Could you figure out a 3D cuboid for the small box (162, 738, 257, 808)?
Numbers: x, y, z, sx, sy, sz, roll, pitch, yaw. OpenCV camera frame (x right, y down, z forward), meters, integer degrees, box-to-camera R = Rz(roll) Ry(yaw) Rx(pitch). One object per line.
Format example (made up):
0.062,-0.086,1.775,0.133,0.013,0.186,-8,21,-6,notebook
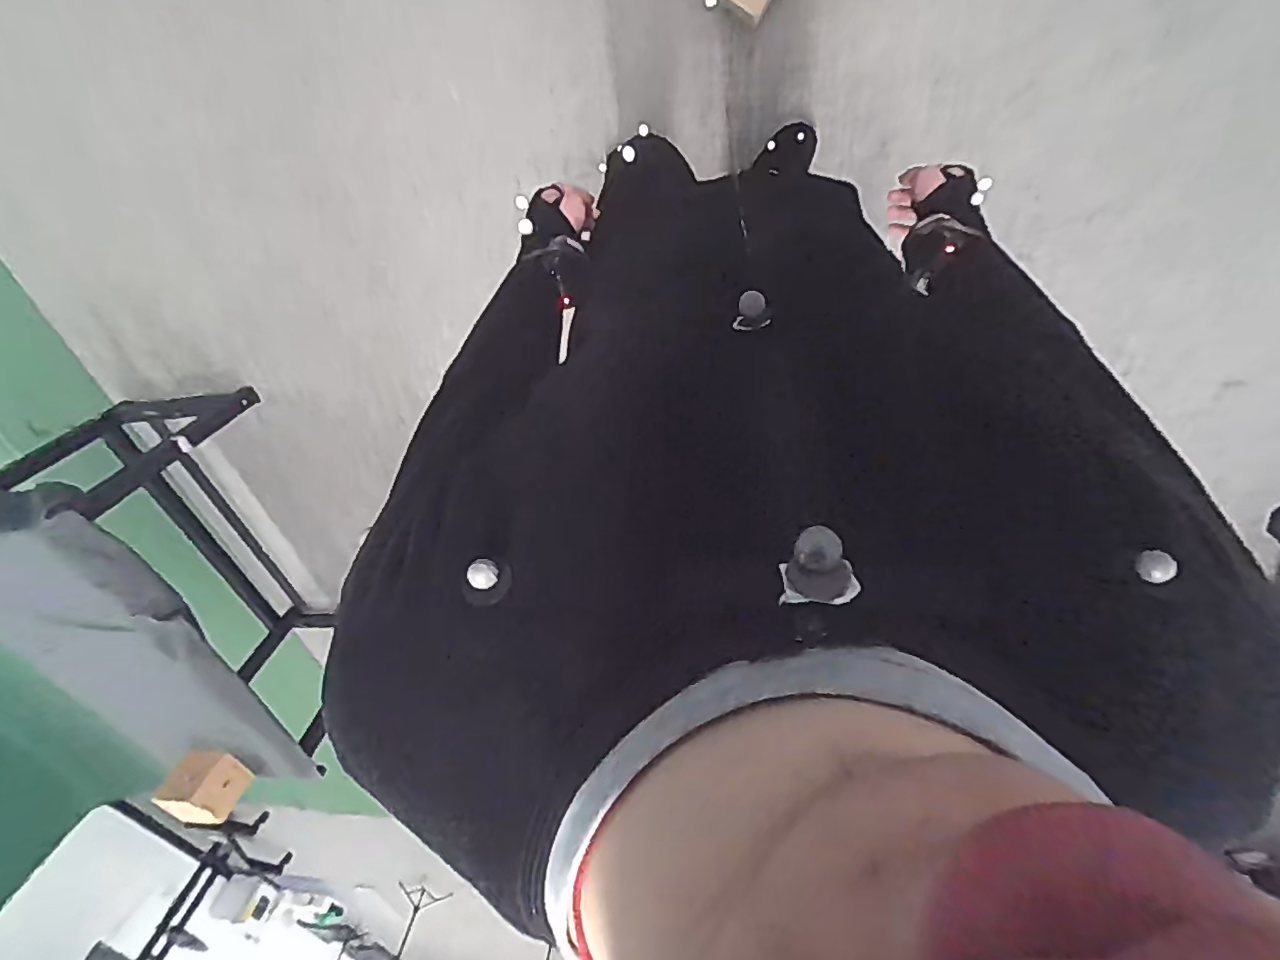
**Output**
-1.510,1.036,1.917,0.179,0.176,0.168,-6,125,14,small box
